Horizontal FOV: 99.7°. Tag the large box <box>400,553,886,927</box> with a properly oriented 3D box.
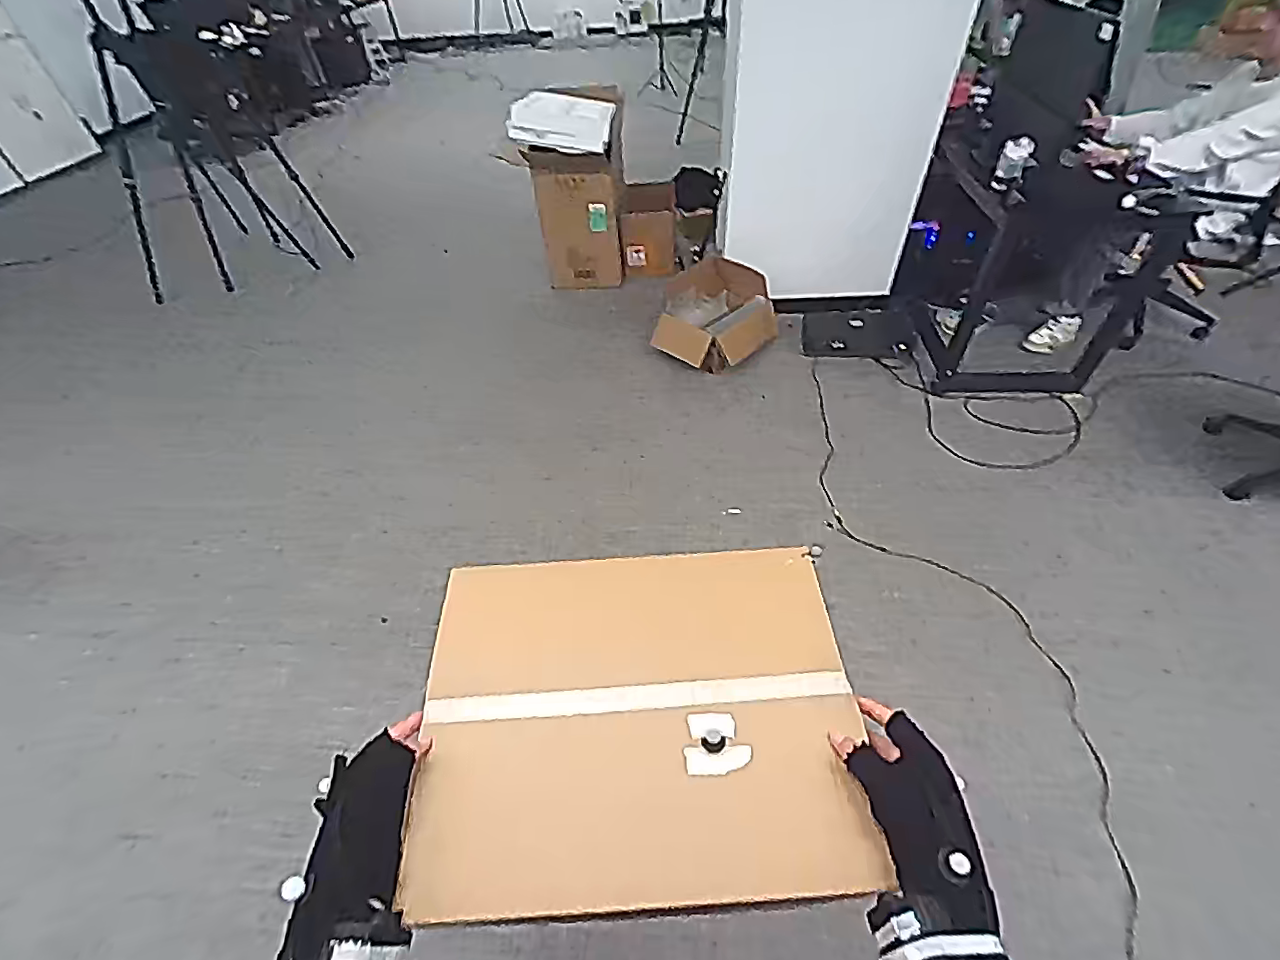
[{"bbox_3d":[-0.002,0.312,0.642,0.408,0.320,0.320,-3,50,-1],"label":"large box"}]
